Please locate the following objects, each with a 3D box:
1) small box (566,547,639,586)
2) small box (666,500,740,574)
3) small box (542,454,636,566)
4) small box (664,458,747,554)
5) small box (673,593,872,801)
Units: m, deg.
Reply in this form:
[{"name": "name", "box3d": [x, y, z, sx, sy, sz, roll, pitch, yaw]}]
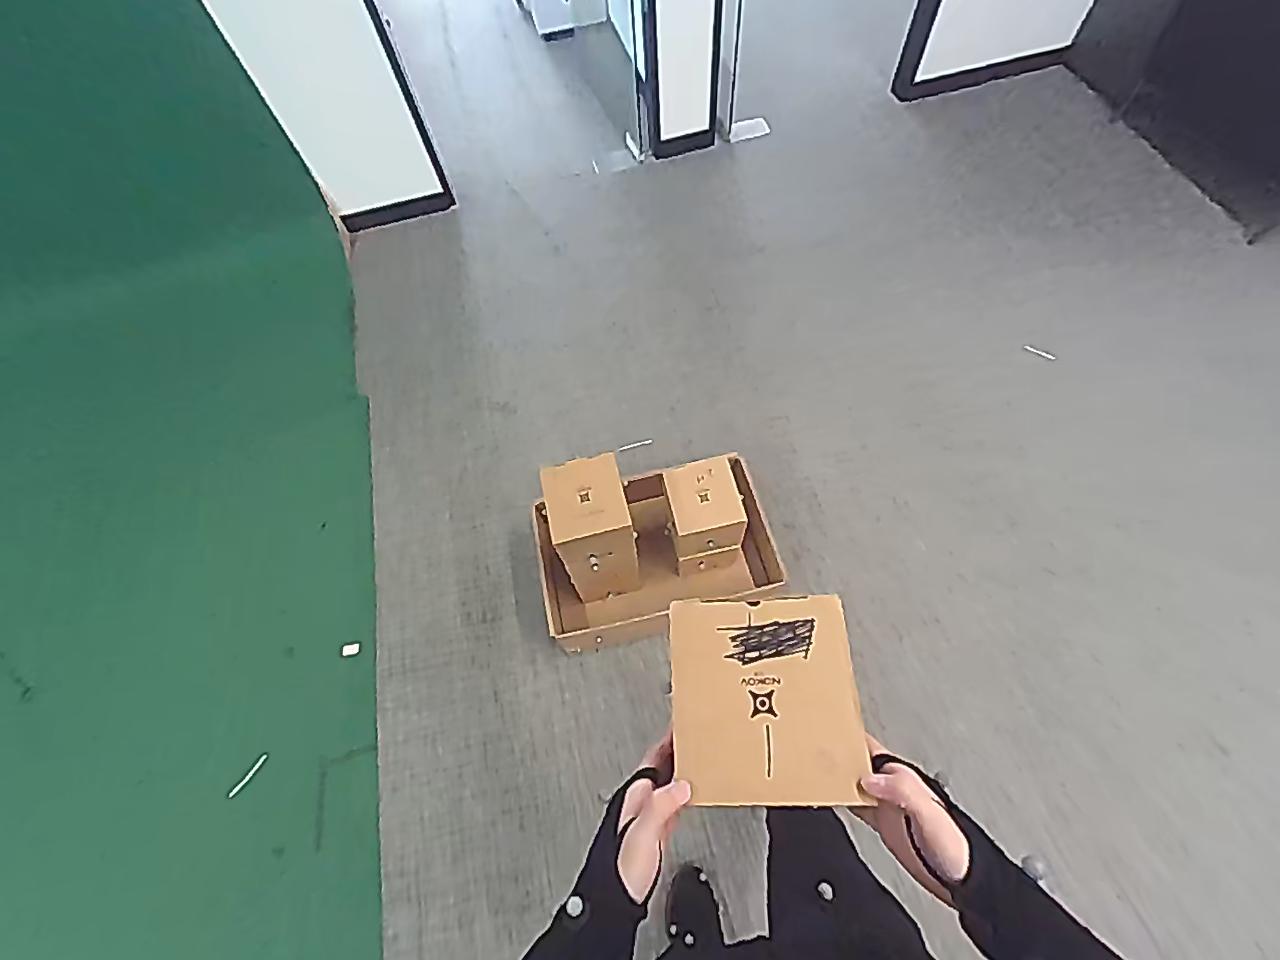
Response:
[{"name": "small box", "box3d": [-0.101, 0.142, 1.333, 0.168, 0.176, 0.179, -14, 63, -3]}, {"name": "small box", "box3d": [0.173, 0.149, 1.495, 0.168, 0.176, 0.179, -13, 63, -1]}, {"name": "small box", "box3d": [-0.108, 0.070, 1.186, 0.168, 0.176, 0.179, -13, 64, -3]}, {"name": "small box", "box3d": [0.161, 0.073, 1.349, 0.168, 0.176, 0.179, -12, 63, -1]}, {"name": "small box", "box3d": [0.119, 0.227, 0.558, 0.168, 0.176, 0.179, -3, 62, 6]}]
